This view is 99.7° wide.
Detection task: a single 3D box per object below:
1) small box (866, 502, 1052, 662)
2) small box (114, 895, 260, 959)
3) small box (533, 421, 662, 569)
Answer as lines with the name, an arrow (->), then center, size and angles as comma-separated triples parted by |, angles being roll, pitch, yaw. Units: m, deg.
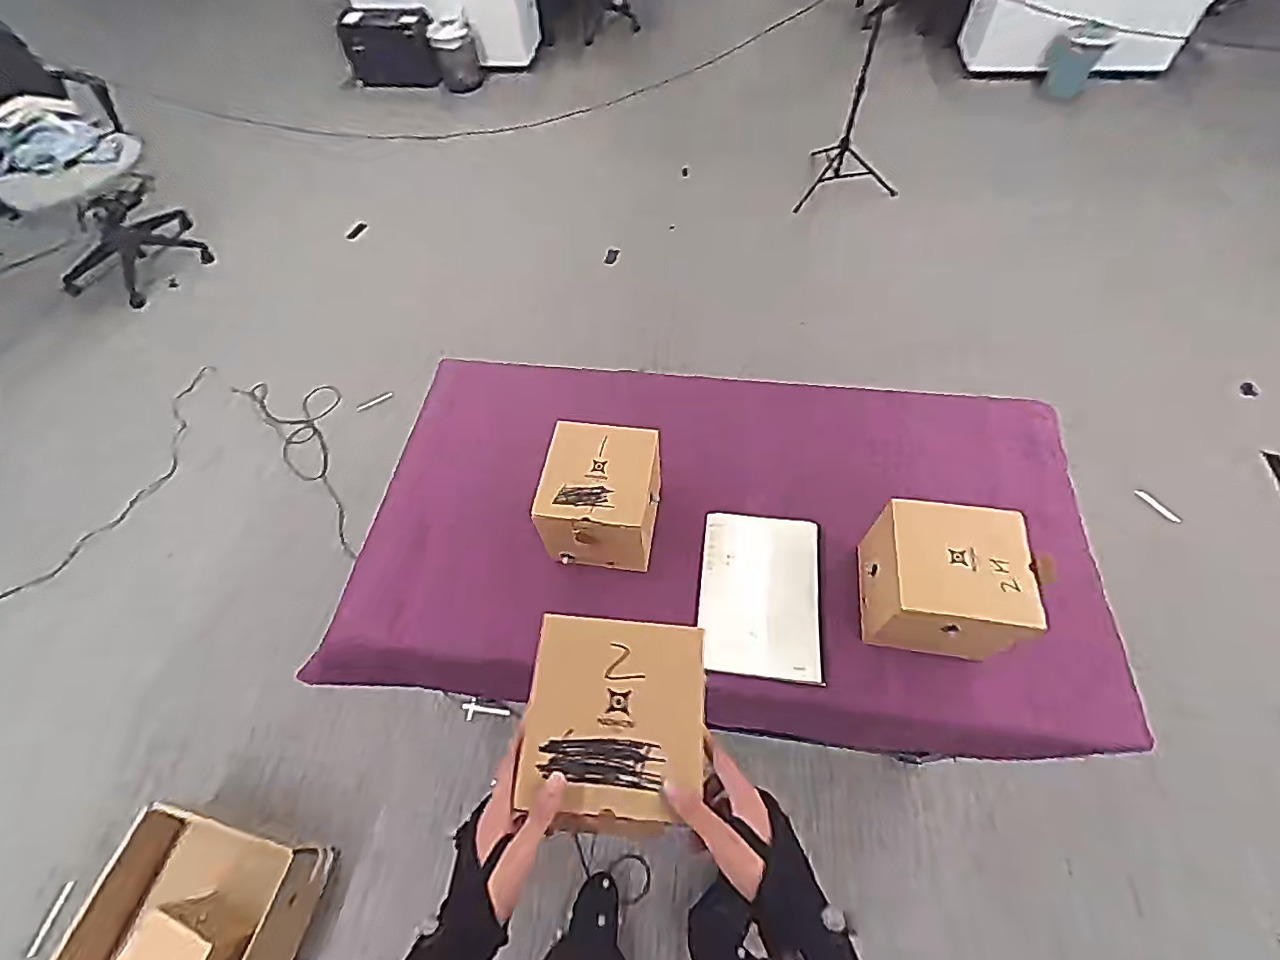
small box -> 0.432, 0.150, 0.771 | 0.179, 0.176, 0.168 | 7, 60, 8
small box -> -0.957, 1.008, 1.132 | 0.179, 0.176, 0.168 | 19, 62, 14
small box -> -0.057, 0.029, 0.874 | 0.168, 0.176, 0.179 | 7, 59, 7
